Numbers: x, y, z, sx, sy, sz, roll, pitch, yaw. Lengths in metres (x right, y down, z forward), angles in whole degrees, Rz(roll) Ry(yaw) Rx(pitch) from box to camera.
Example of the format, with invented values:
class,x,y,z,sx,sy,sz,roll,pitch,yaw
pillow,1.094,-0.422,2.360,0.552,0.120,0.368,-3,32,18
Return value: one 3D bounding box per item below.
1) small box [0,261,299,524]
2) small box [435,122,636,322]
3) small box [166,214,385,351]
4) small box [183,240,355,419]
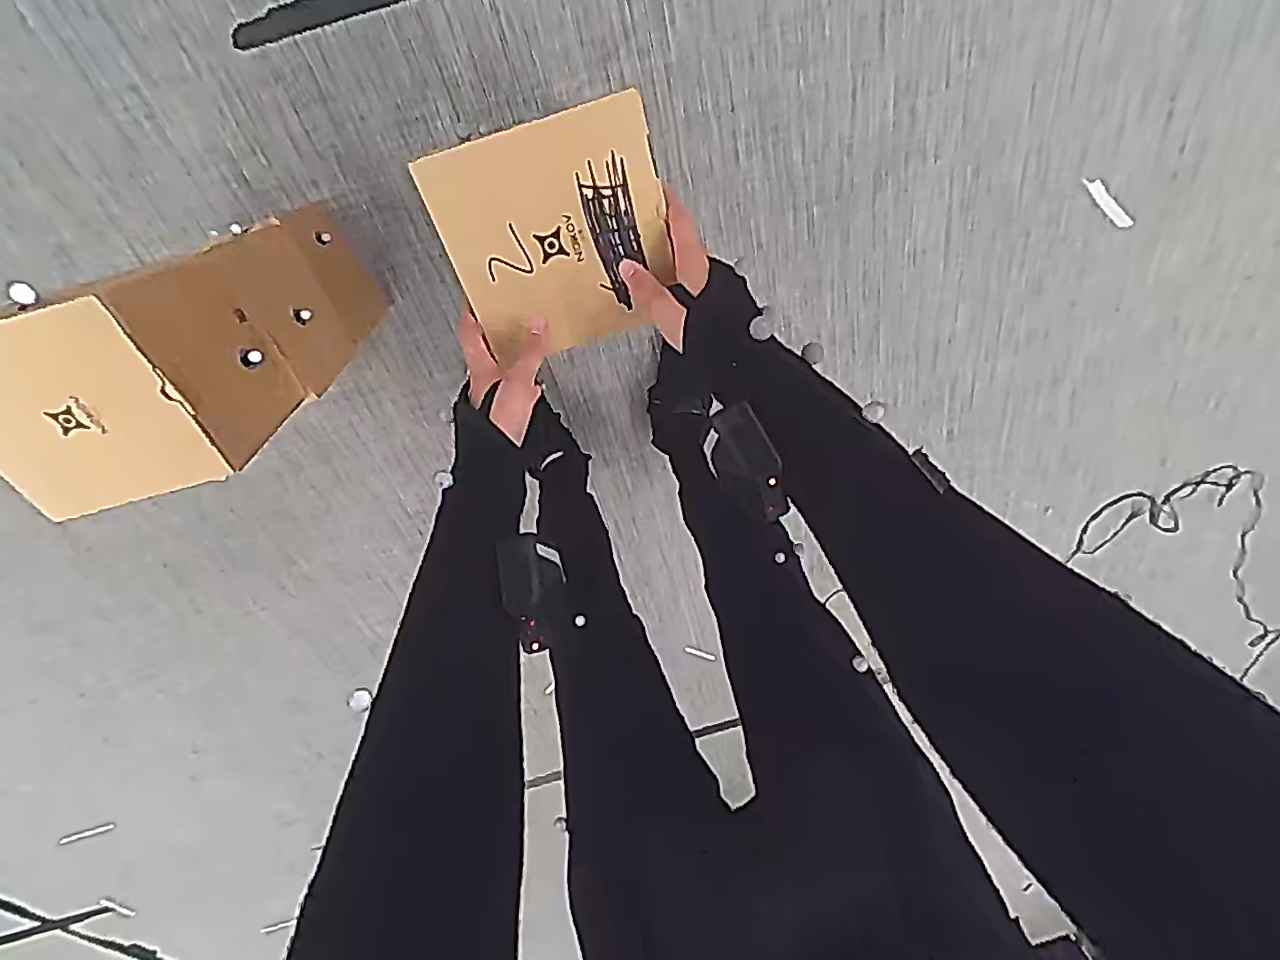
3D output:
class,x,y,z,sx,sy,sz,roll,pitch,yaw
small box,-0.472,-0.089,0.508,0.179,0.176,0.168,-16,124,0
small box,-0.117,-0.307,0.633,0.179,0.176,0.168,-15,124,-3
small box,-0.504,-0.266,0.781,0.168,0.176,0.179,-21,124,3
small box,-0.483,-0.171,0.649,0.168,0.176,0.179,-19,125,3
